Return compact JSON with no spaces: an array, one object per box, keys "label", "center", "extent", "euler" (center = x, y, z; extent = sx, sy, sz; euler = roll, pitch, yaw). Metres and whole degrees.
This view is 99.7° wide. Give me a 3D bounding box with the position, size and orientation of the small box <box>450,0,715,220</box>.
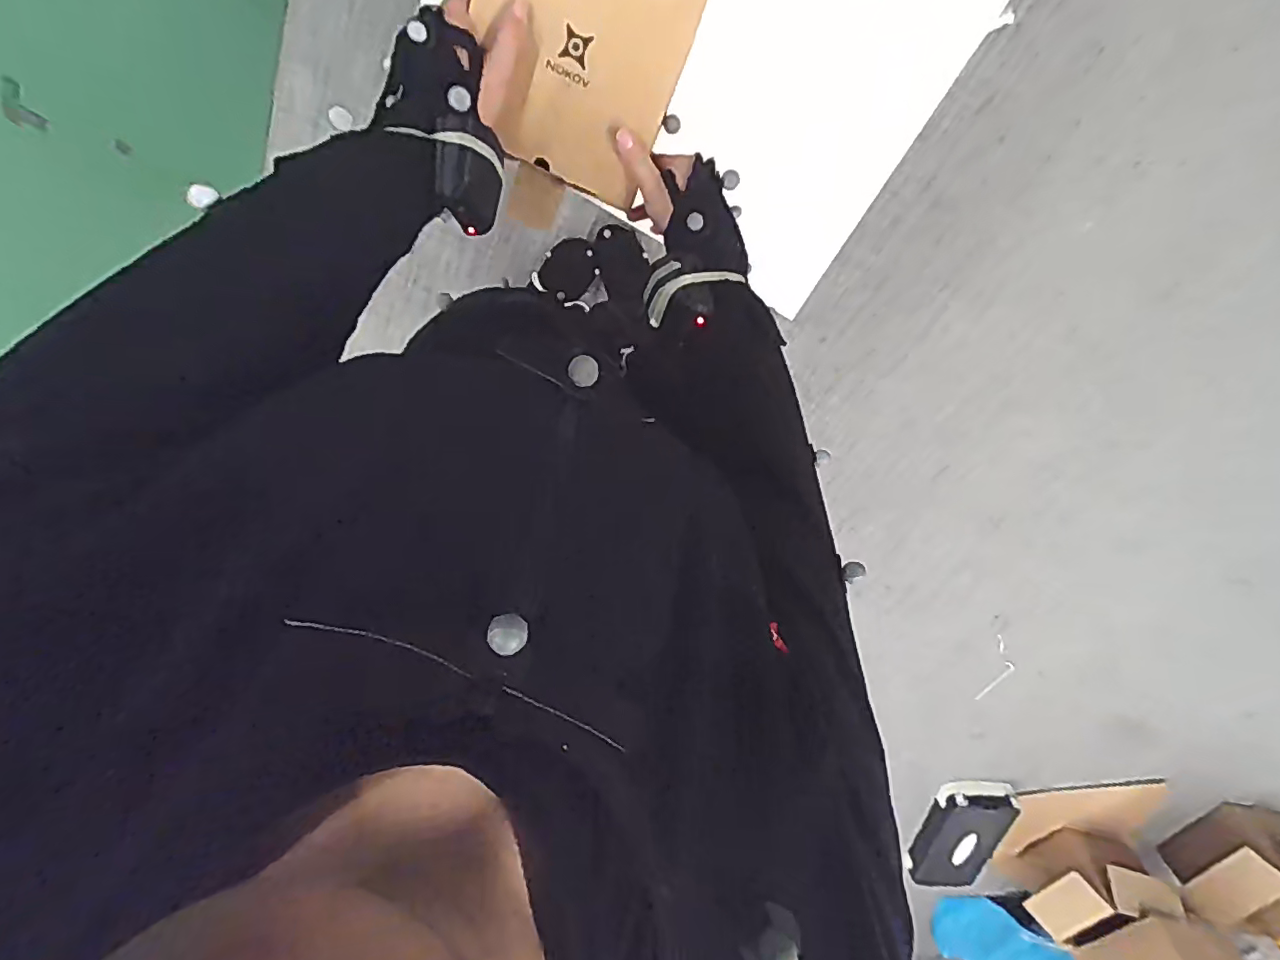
[{"label":"small box","center":[-0.053,-0.367,0.494],"extent":[0.168,0.176,0.179],"euler":[20,118,-13]}]
